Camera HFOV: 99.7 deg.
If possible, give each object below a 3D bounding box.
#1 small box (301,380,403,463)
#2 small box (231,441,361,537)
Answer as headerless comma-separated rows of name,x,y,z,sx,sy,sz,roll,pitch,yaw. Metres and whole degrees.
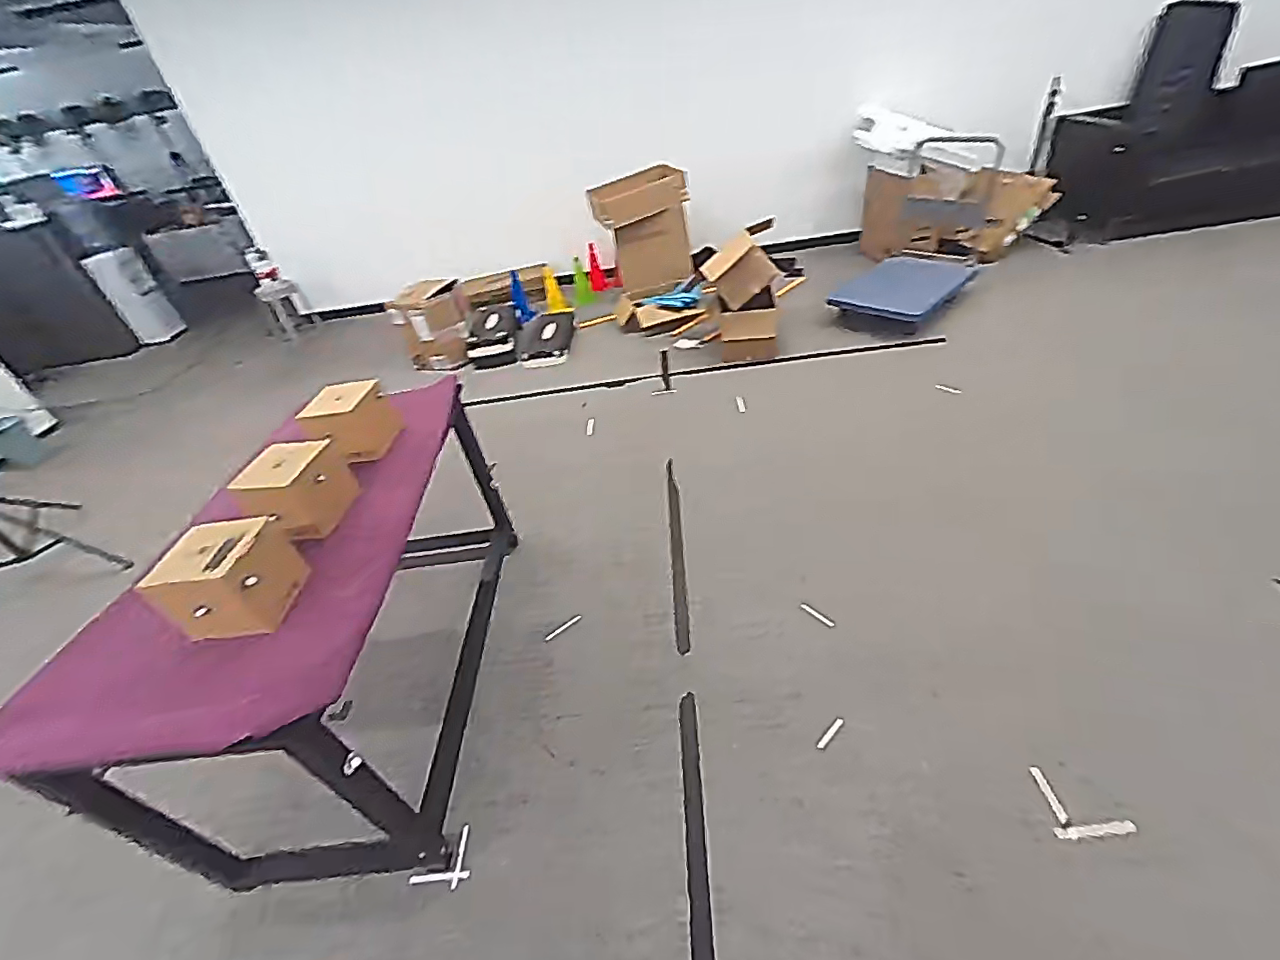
small box,-0.810,-0.161,1.546,0.168,0.176,0.179,-6,38,8
small box,-0.819,0.026,1.312,0.168,0.176,0.179,-2,38,10
